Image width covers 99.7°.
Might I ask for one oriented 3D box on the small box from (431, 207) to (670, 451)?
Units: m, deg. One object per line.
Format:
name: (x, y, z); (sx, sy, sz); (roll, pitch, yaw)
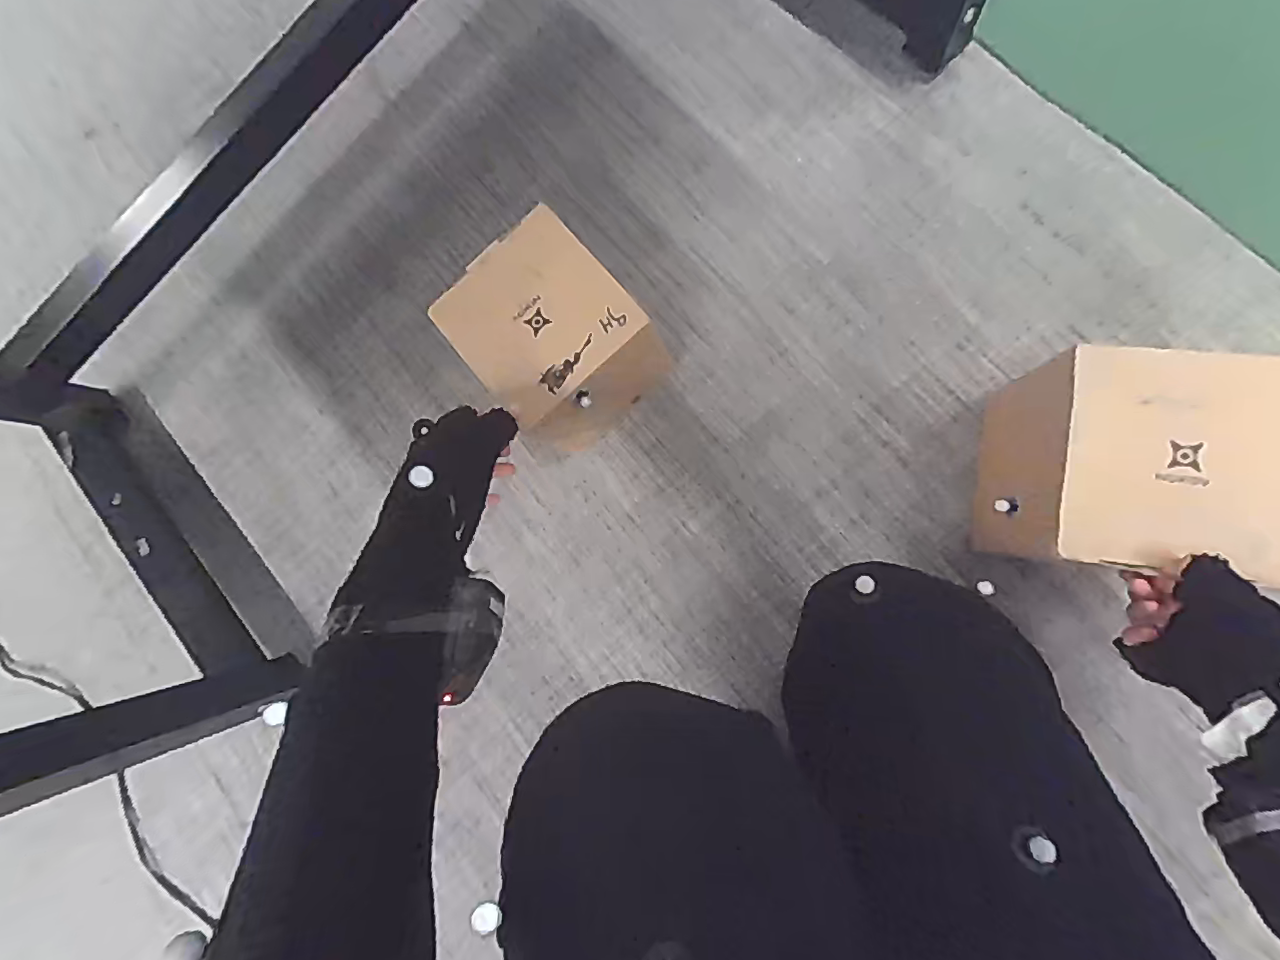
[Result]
small box: (-0.089, -0.153, 0.612); (0.168, 0.176, 0.179); (-41, 77, 6)
